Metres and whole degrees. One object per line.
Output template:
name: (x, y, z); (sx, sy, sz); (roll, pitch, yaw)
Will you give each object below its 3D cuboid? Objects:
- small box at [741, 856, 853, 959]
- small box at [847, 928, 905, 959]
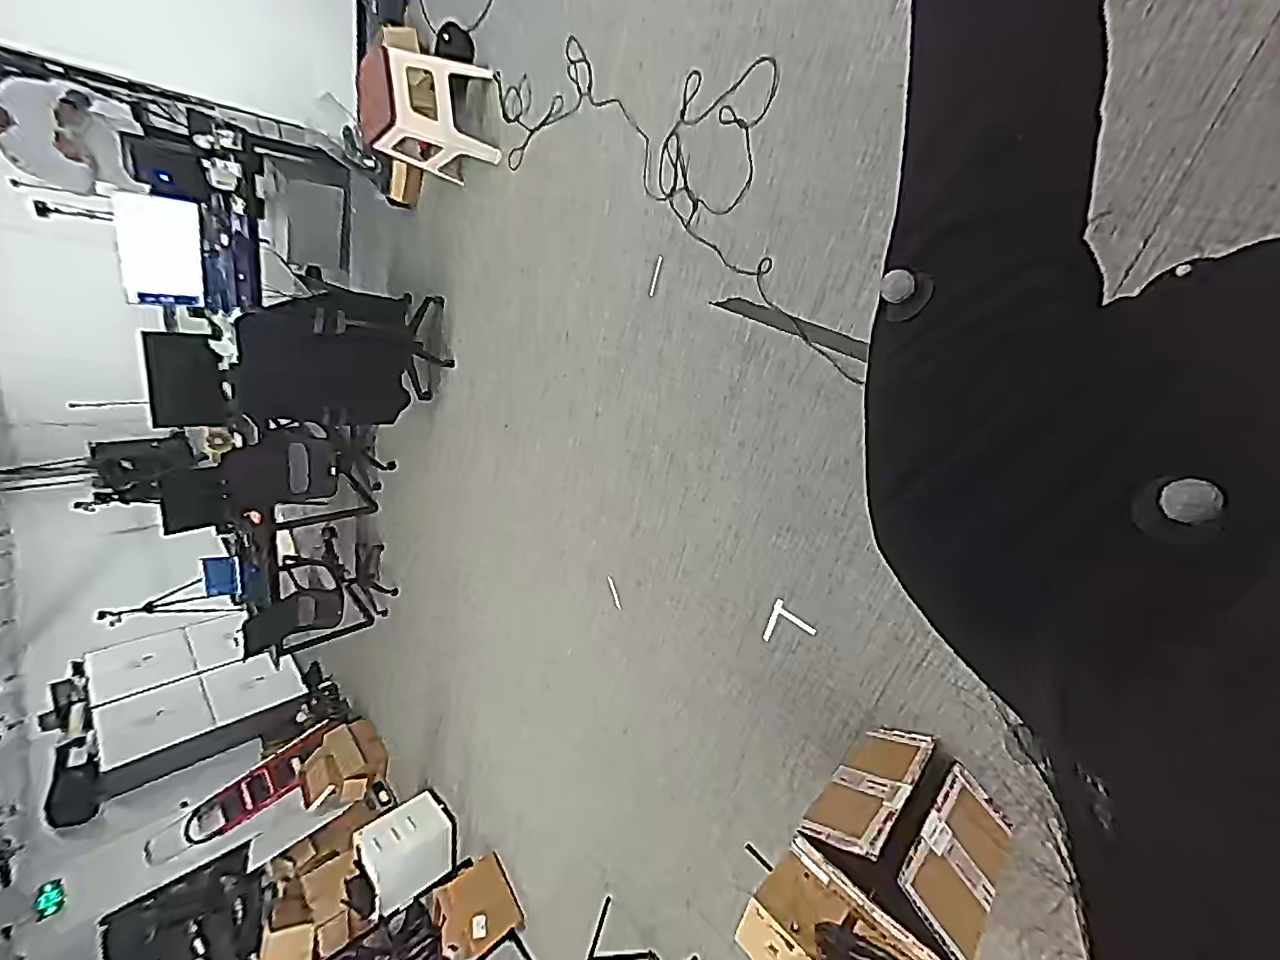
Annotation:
small box: (0.363, 1.031, 1.246); (0.168, 0.176, 0.179); (31, 121, 38)
small box: (0.501, 1.107, 1.126); (0.179, 0.176, 0.168); (26, 118, 37)
